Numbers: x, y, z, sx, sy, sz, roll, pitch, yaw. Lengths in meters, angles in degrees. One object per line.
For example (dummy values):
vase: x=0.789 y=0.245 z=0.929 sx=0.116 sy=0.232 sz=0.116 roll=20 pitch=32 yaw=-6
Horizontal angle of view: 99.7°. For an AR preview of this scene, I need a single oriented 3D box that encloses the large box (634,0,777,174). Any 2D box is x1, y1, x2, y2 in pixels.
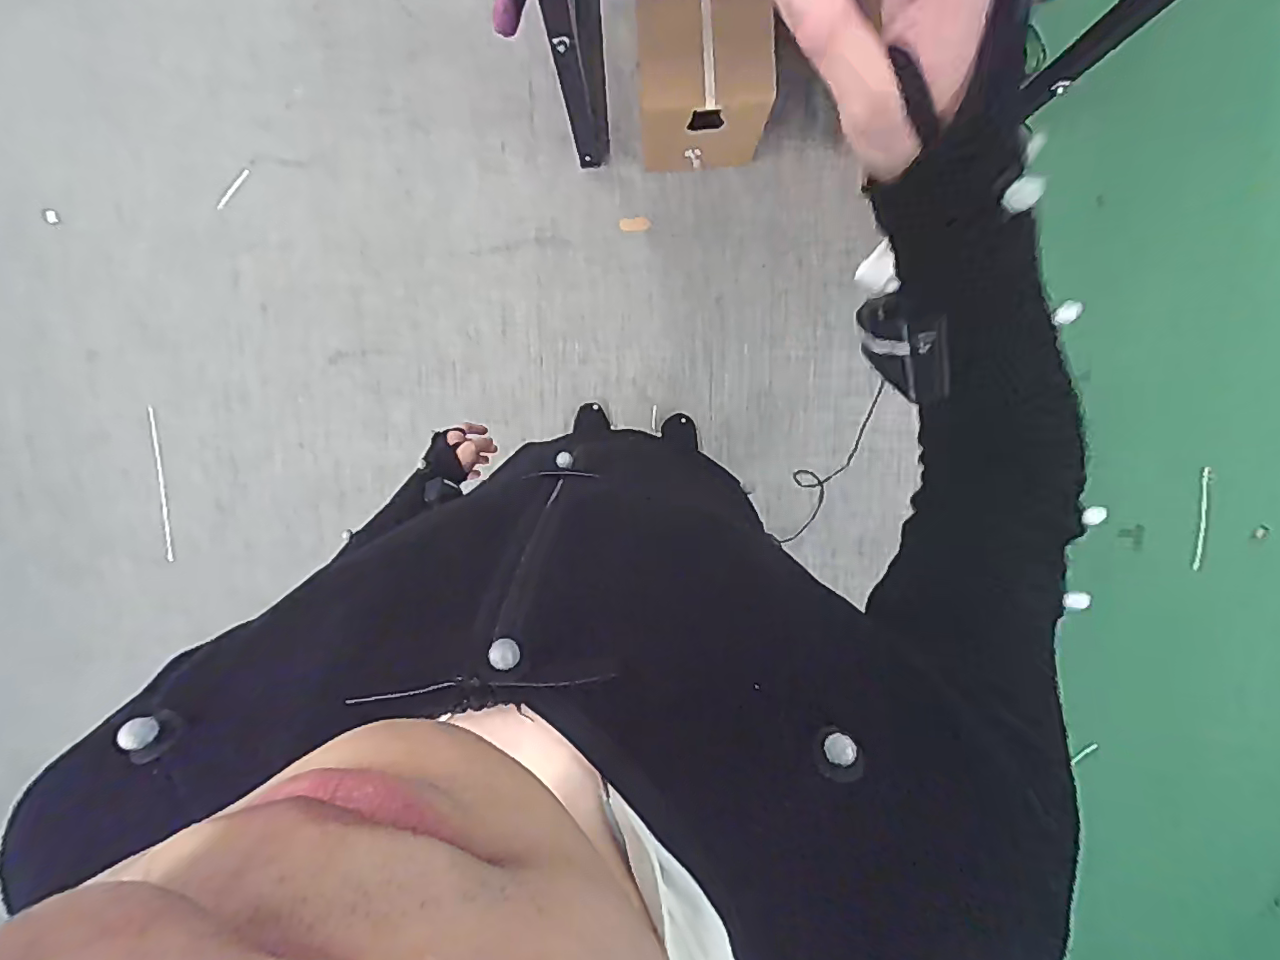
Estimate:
large box: x=0.151 y=-1.068 z=1.377 sx=0.320 sy=0.320 sz=0.408 roll=-4 pitch=95 yaw=1
